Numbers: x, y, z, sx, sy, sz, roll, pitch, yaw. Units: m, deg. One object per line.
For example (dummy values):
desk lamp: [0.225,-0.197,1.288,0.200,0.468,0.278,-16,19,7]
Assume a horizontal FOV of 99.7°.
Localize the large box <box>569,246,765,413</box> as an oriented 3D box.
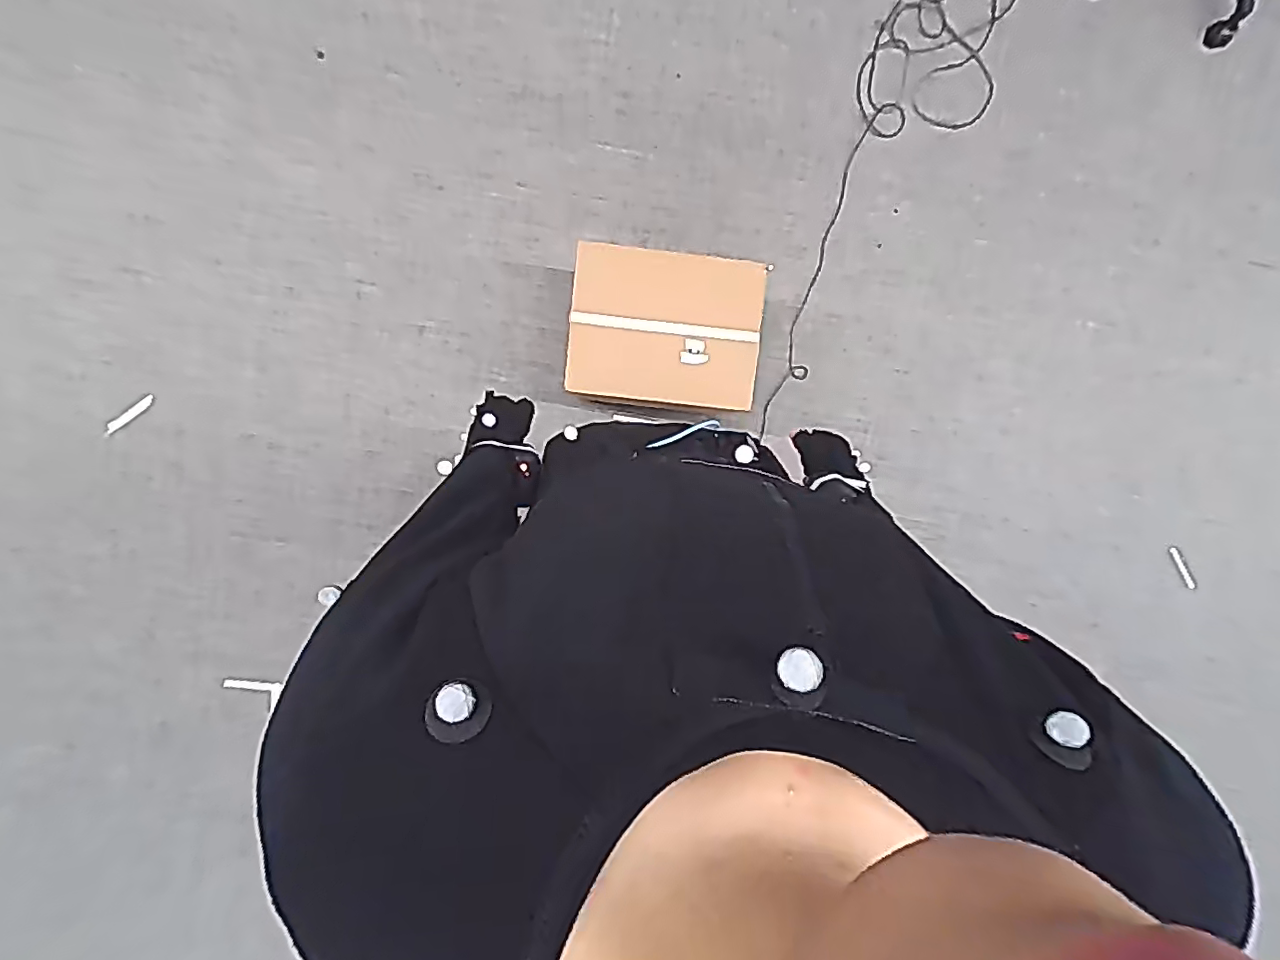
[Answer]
large box: [0.048,-0.337,1.304,0.408,0.320,0.320,6,96,-3]
